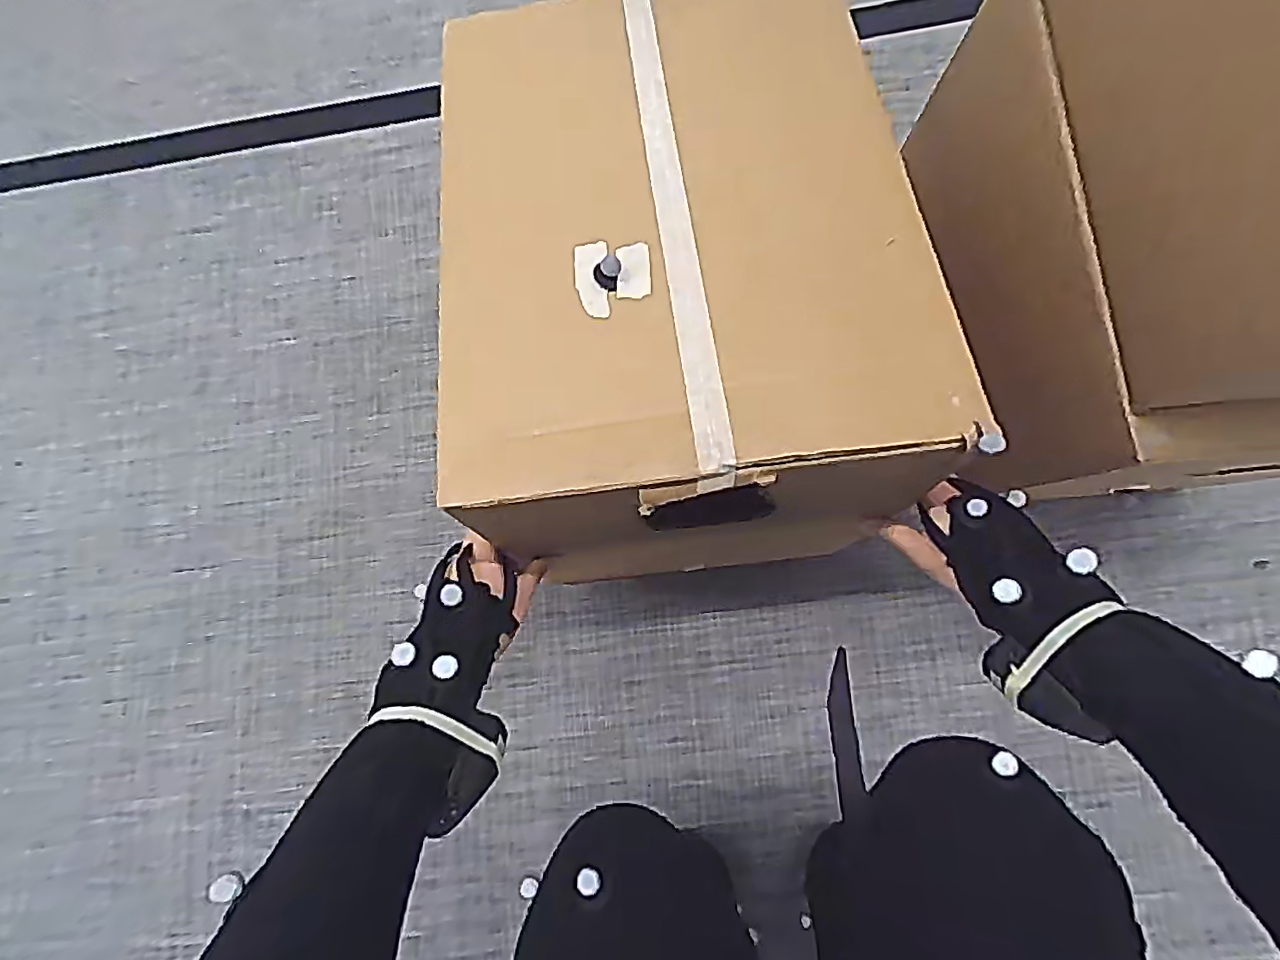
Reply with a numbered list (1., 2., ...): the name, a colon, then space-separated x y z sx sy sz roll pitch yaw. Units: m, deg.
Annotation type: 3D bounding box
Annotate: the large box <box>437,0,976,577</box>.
1. large box: 0.023 -0.145 0.513 0.320 0.320 0.408 -8 72 2
